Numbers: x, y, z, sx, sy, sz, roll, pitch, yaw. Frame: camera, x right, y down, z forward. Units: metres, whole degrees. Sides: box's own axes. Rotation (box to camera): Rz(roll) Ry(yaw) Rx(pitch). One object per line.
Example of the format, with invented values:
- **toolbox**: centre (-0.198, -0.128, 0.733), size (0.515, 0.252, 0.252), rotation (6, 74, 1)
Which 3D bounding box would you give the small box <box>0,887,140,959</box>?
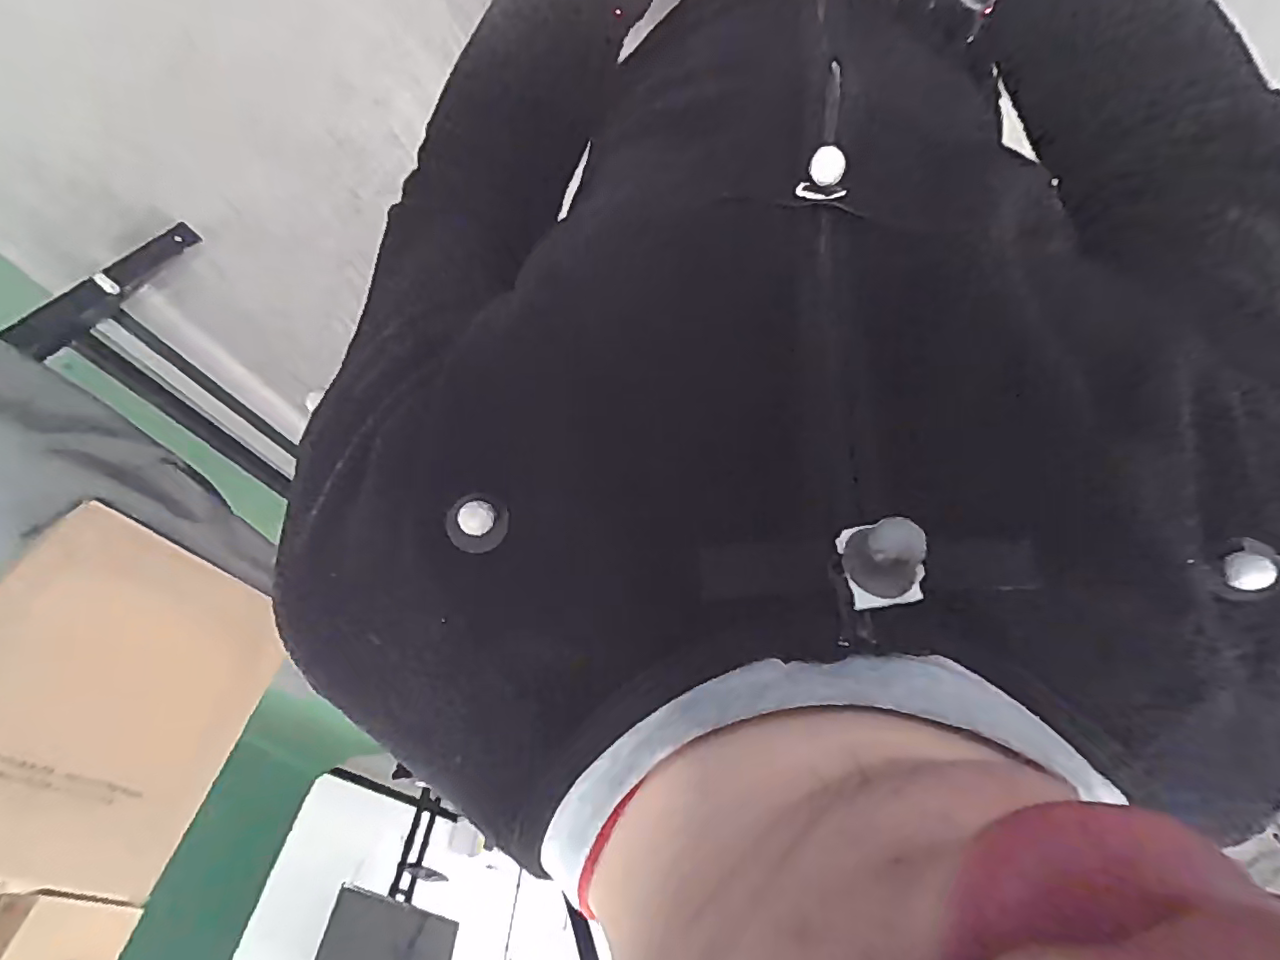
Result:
- **small box**: centre (-1.073, 0.850, 0.970), size (0.168, 0.176, 0.179), rotation (-19, 132, 22)
